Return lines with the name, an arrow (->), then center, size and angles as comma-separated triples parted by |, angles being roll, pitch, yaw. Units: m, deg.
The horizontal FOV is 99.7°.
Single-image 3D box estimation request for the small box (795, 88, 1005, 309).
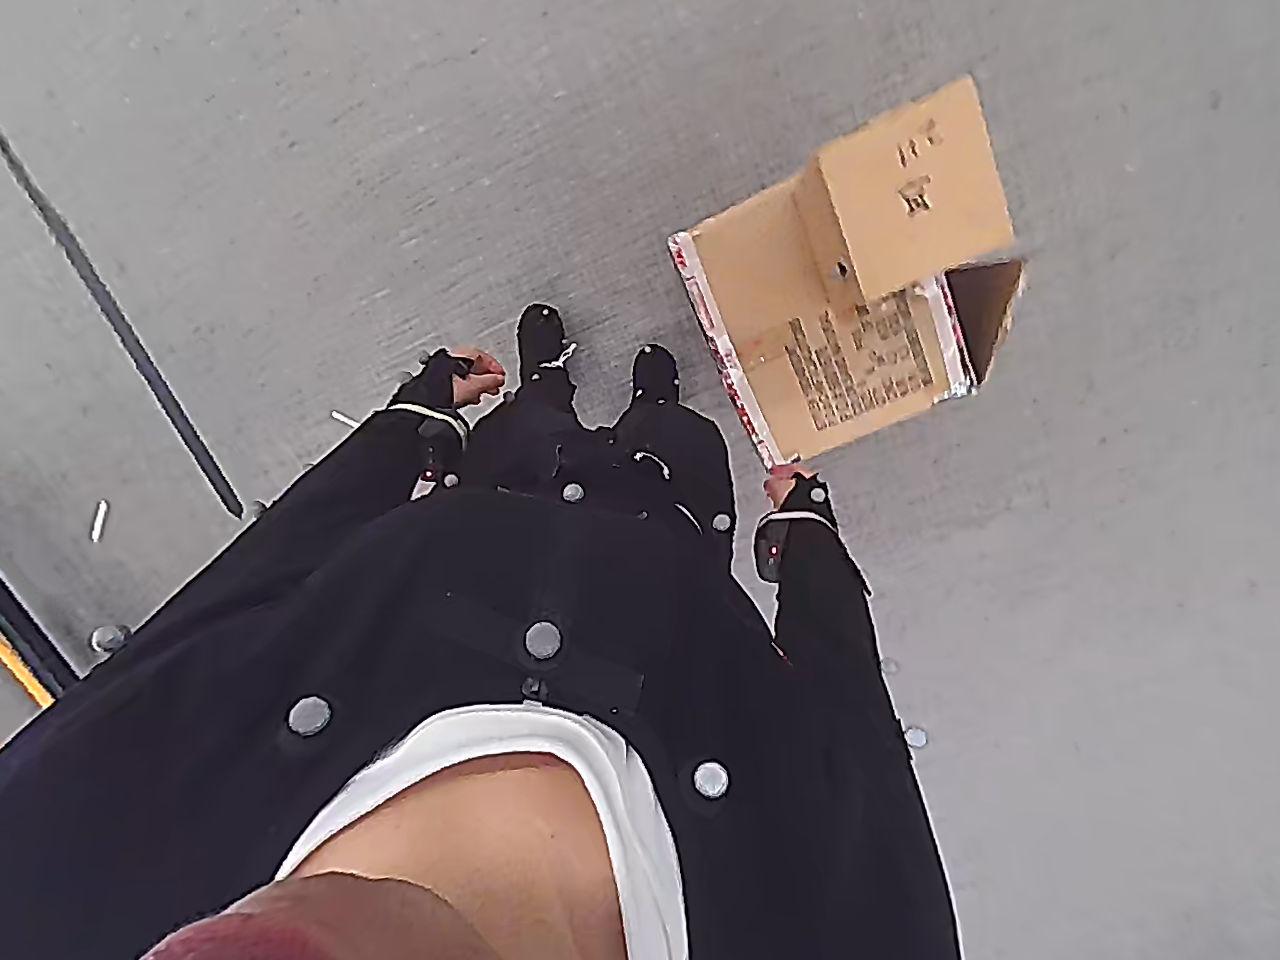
small box -> 0.307, -0.326, 0.672 | 0.168, 0.176, 0.179 | -21, 101, 11
